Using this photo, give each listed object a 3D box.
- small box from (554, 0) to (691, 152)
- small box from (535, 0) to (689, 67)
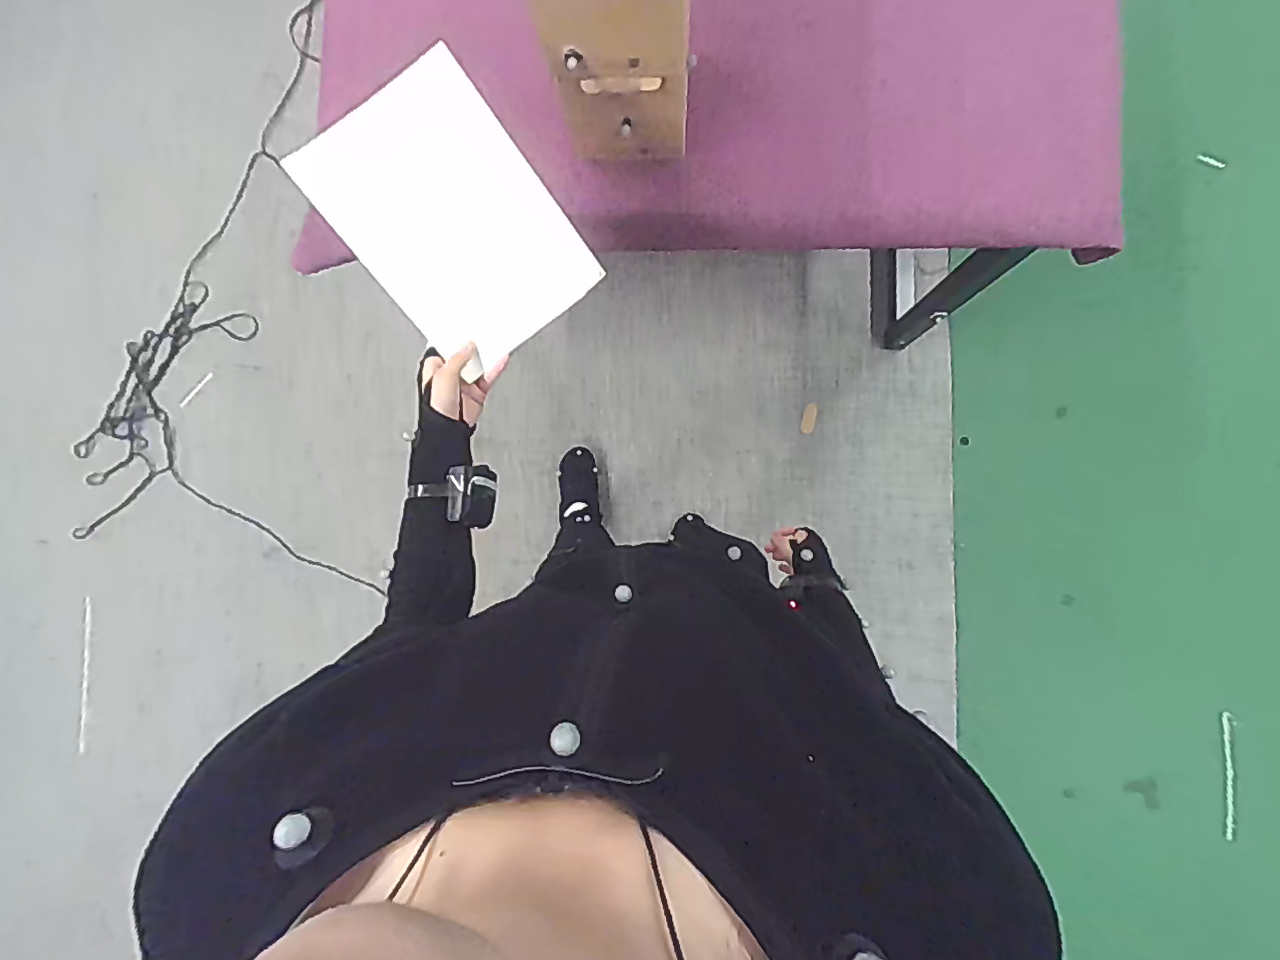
[{"bbox_3d":[-0.016,-0.587,0.751,0.168,0.176,0.179,3,88,4],"label":"small box"},{"bbox_3d":[-0.028,-0.591,0.586,0.168,0.176,0.179,3,86,4],"label":"small box"}]
